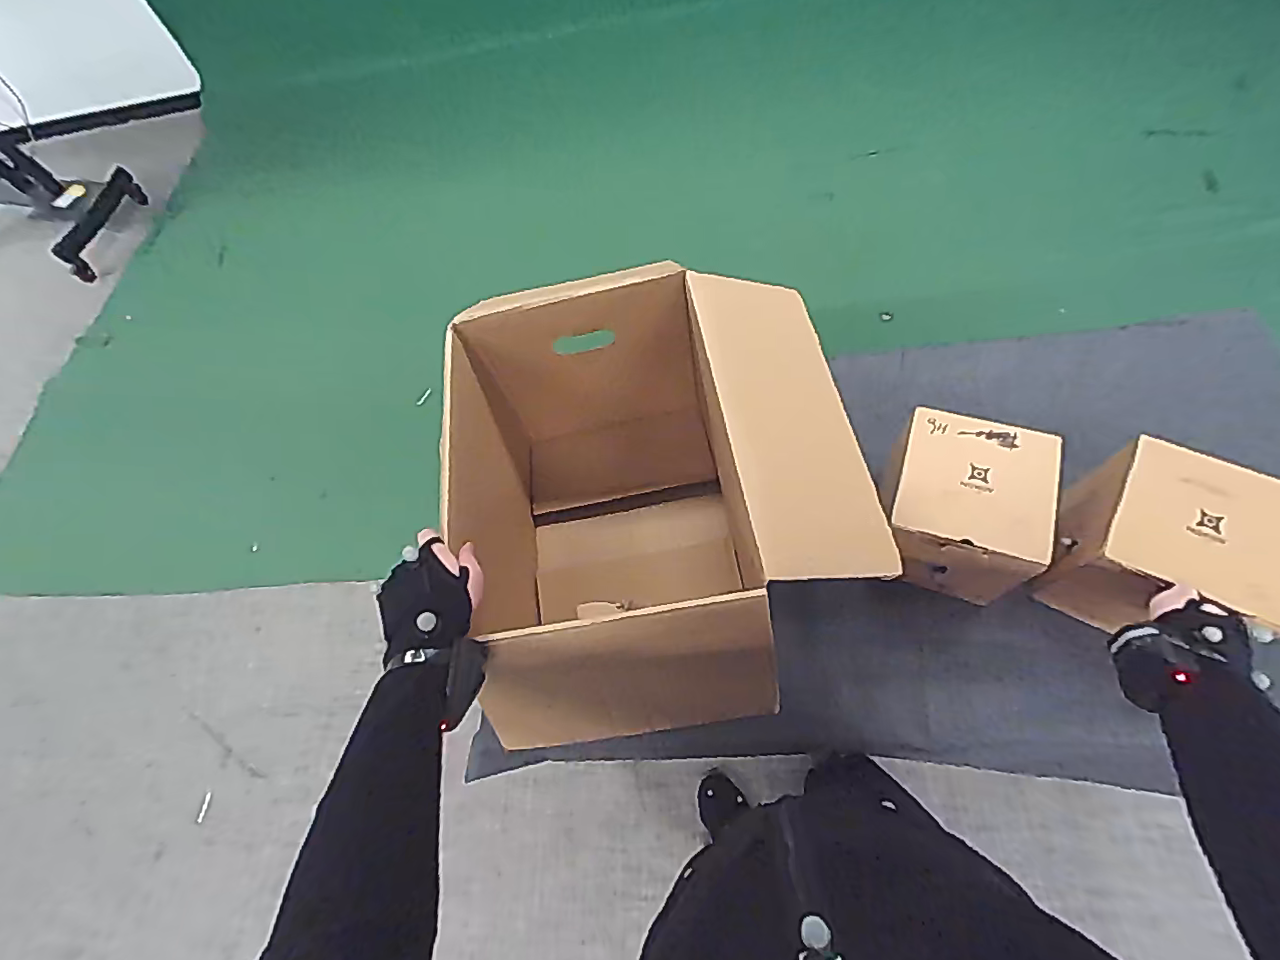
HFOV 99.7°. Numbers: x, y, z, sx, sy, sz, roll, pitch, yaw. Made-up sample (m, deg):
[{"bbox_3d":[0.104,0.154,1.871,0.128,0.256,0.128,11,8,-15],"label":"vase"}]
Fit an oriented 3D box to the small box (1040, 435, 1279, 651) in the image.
[{"bbox_3d":[0.624,0.083,0.649,0.168,0.176,0.179,26,70,20],"label":"small box"}]
